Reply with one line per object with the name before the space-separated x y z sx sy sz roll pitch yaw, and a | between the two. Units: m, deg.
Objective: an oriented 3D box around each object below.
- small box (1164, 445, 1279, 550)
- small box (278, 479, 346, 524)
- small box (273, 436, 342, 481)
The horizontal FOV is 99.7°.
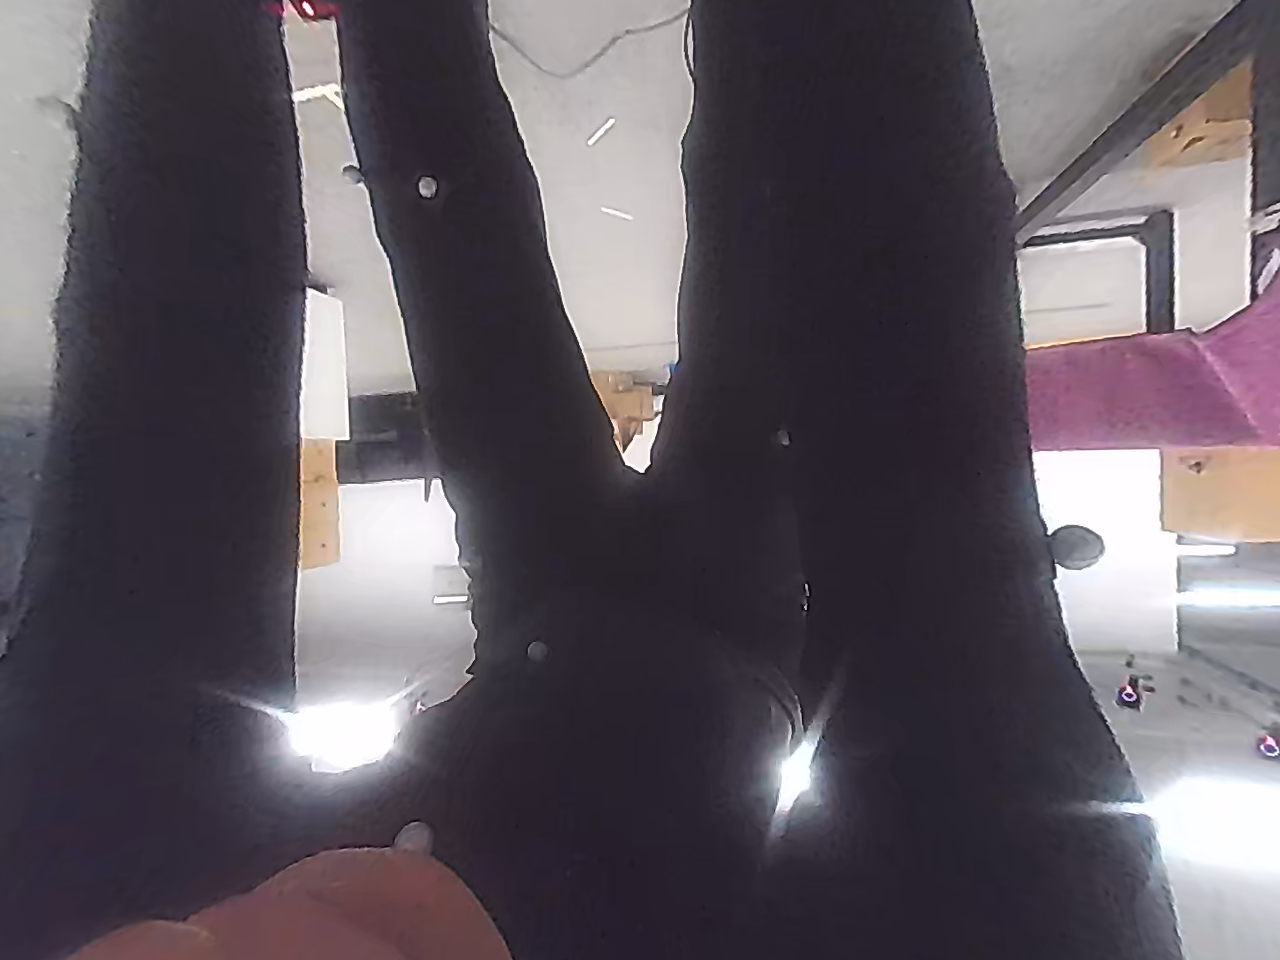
small box | 1.075 0.024 0.943 0.179 0.176 0.168 -1 -178 13
small box | -1.300 0.080 2.141 0.168 0.176 0.179 0 -177 12
small box | -1.309 -0.084 2.134 0.179 0.176 0.168 -1 -177 13
